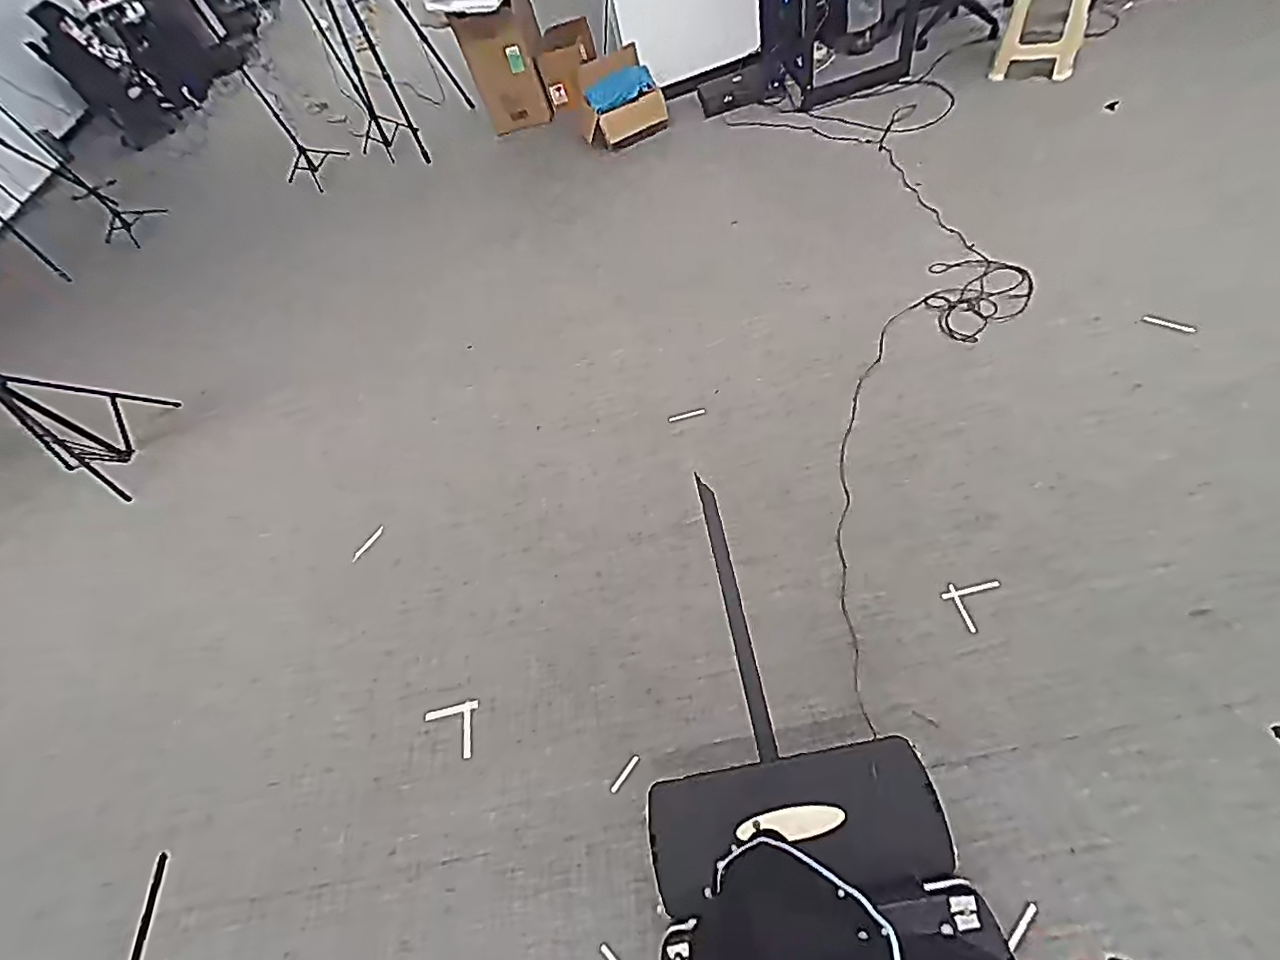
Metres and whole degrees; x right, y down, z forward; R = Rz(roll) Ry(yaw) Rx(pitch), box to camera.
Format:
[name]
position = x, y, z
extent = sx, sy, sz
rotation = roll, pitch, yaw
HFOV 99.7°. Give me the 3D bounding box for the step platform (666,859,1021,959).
[step platform]
position = 0.396, 0.997, 1.094
extent = 0.684, 0.204, 0.286
rotation = -16, 55, 7
